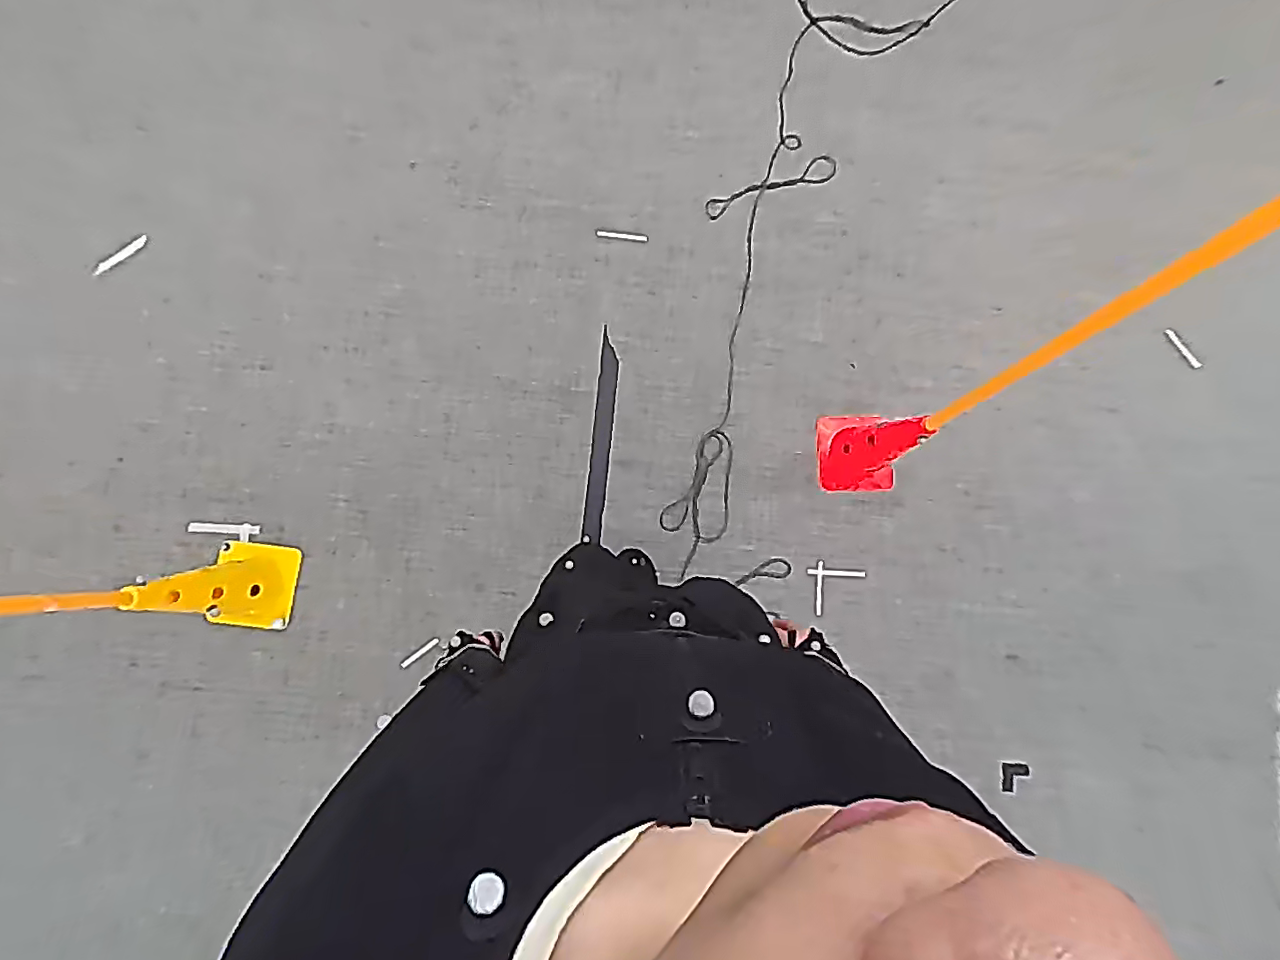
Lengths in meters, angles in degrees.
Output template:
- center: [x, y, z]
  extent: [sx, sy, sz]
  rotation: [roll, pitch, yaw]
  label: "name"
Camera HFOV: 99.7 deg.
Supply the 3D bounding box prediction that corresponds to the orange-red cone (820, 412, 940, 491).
- center: [0.578, -0.093, 1.257]
  extent: [0.199, 0.360, 0.198]
  rotation: [0, 82, -1]
  label: "orange-red cone"
